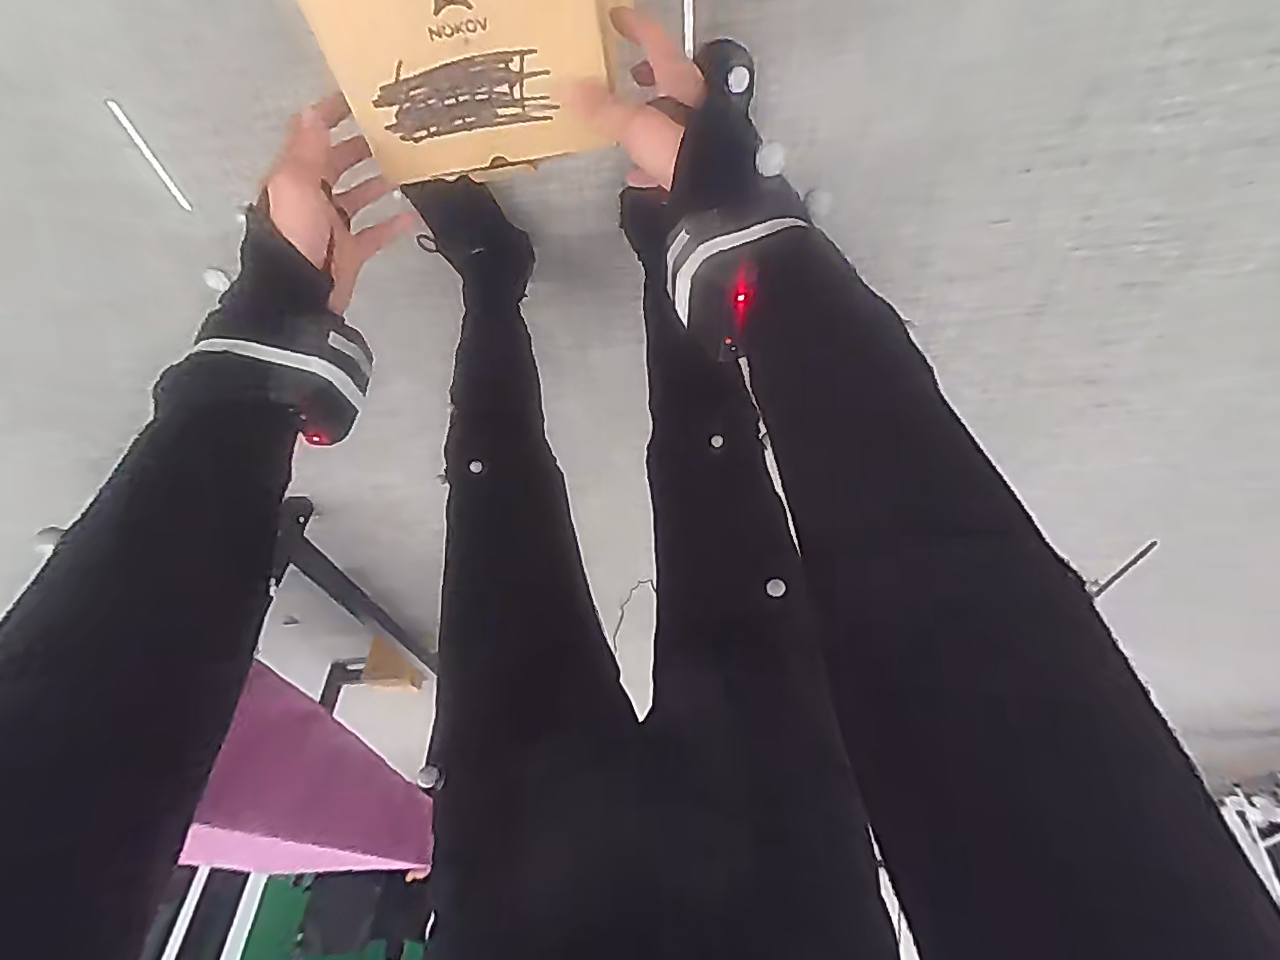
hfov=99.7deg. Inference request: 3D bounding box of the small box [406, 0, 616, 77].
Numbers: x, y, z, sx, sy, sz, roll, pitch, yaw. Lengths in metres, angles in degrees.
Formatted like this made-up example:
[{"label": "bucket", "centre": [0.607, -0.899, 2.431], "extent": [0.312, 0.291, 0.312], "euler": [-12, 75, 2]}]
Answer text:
[{"label": "small box", "centre": [-0.107, -0.466, 0.449], "extent": [0.168, 0.176, 0.179], "euler": [-2, 143, 0]}]
